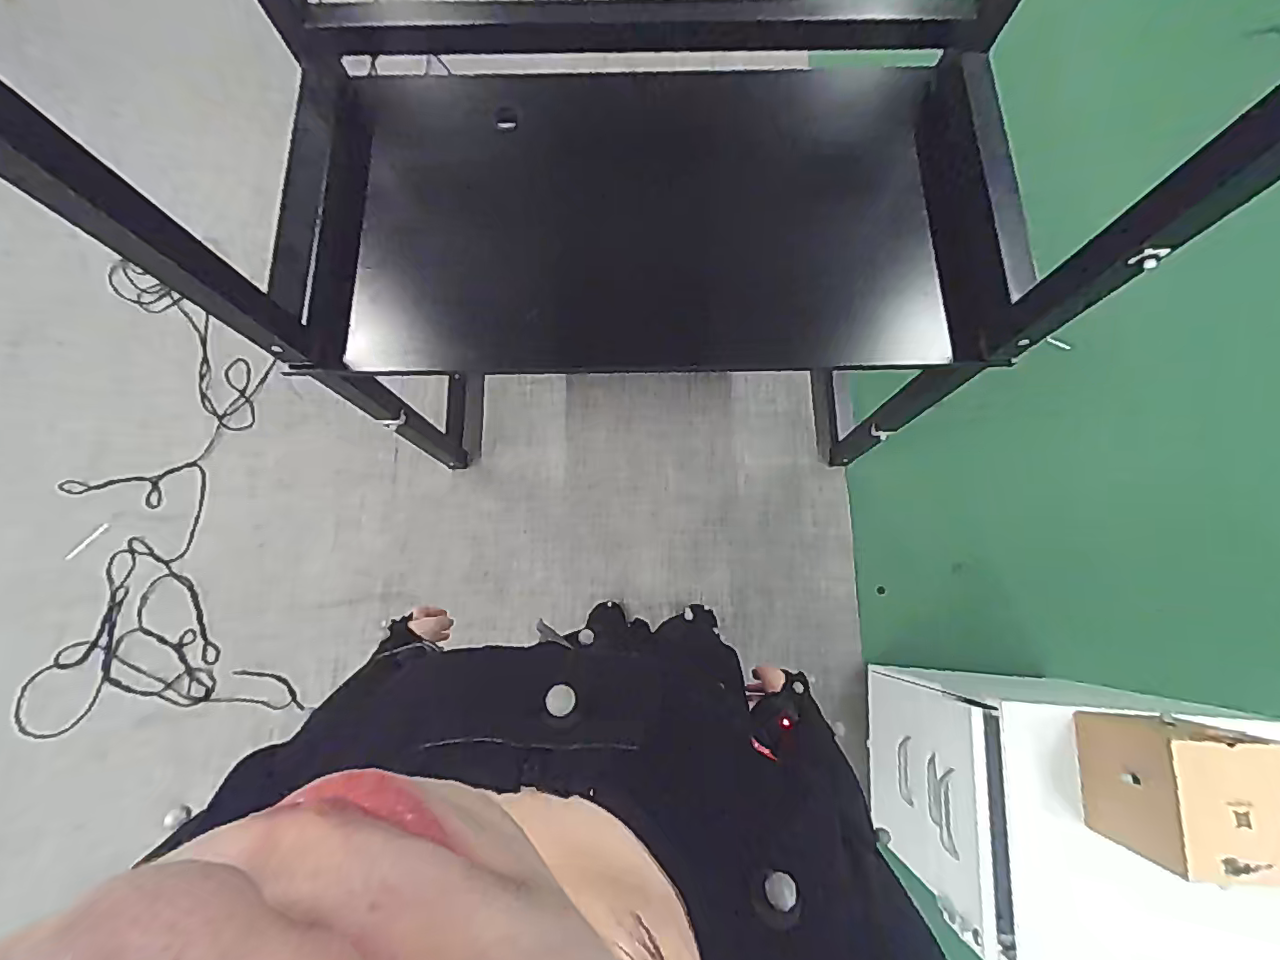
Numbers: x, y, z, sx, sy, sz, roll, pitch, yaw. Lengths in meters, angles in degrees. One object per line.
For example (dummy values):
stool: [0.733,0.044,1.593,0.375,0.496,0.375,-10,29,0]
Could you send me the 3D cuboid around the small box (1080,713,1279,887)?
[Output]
small box: [0.777,0.442,0.775,0.168,0.176,0.179,3,78,2]
